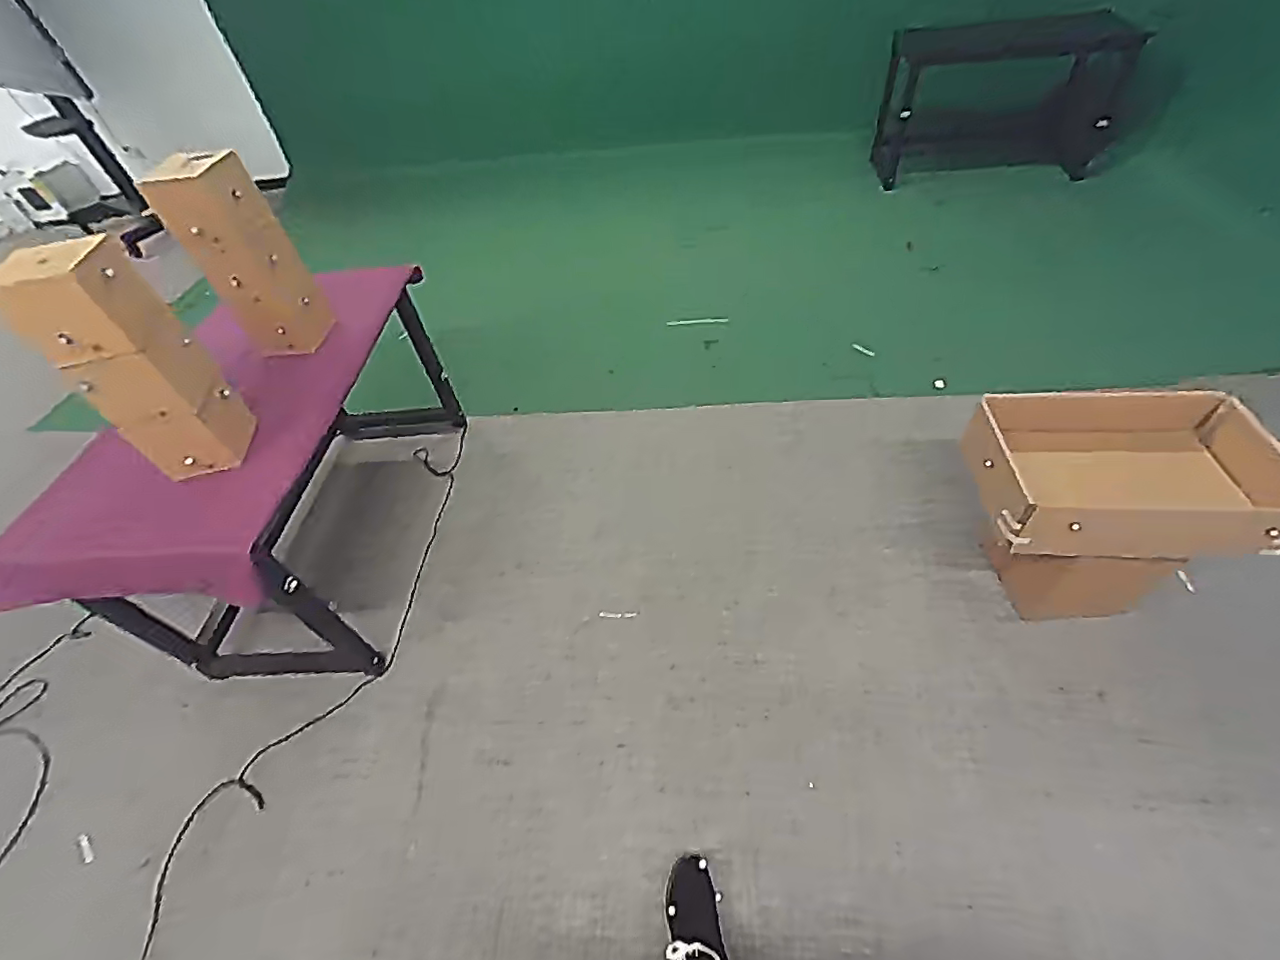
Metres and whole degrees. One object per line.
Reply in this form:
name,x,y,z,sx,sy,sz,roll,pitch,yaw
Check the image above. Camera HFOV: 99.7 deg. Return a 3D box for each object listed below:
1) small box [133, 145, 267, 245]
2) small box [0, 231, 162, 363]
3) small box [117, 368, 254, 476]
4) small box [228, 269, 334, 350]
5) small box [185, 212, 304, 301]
small box,-1.084,-0.712,1.356,0.168,0.176,0.179,-3,50,4
small box,-1.091,-0.354,1.050,0.168,0.176,0.179,-13,49,-6
small box,-1.069,-0.138,1.294,0.168,0.176,0.179,-13,49,-4
small box,-1.051,-0.499,1.603,0.168,0.176,0.179,-1,50,6
small box,-1.068,-0.605,1.480,0.168,0.176,0.179,-1,51,4
